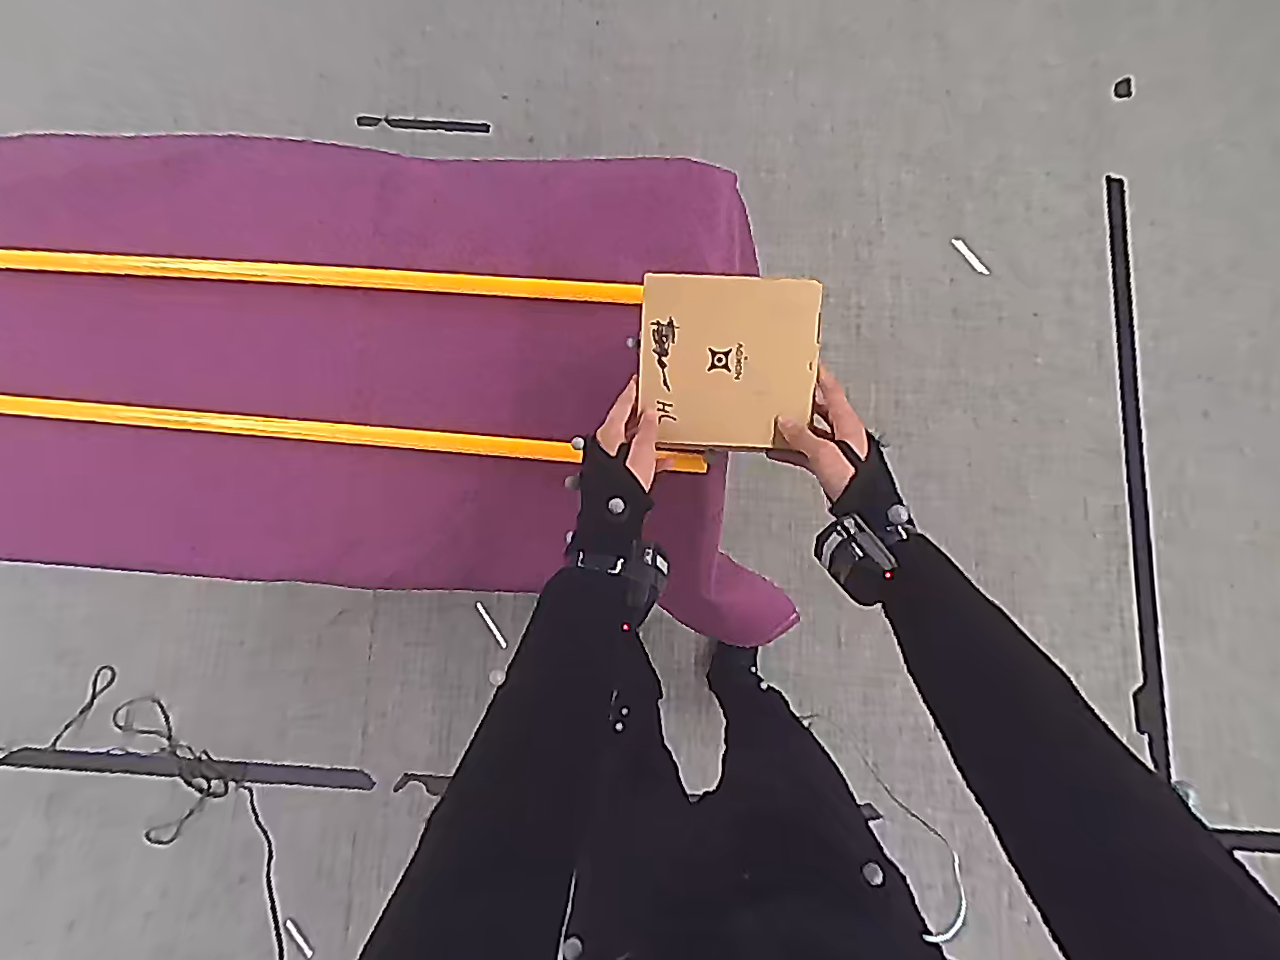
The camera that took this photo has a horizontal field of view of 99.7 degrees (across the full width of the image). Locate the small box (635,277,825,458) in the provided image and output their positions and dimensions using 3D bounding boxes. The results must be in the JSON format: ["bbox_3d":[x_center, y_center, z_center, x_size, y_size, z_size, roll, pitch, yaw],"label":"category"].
[{"bbox_3d":[0.087,-0.111,0.603,0.179,0.176,0.168,3,91,0],"label":"small box"}]
